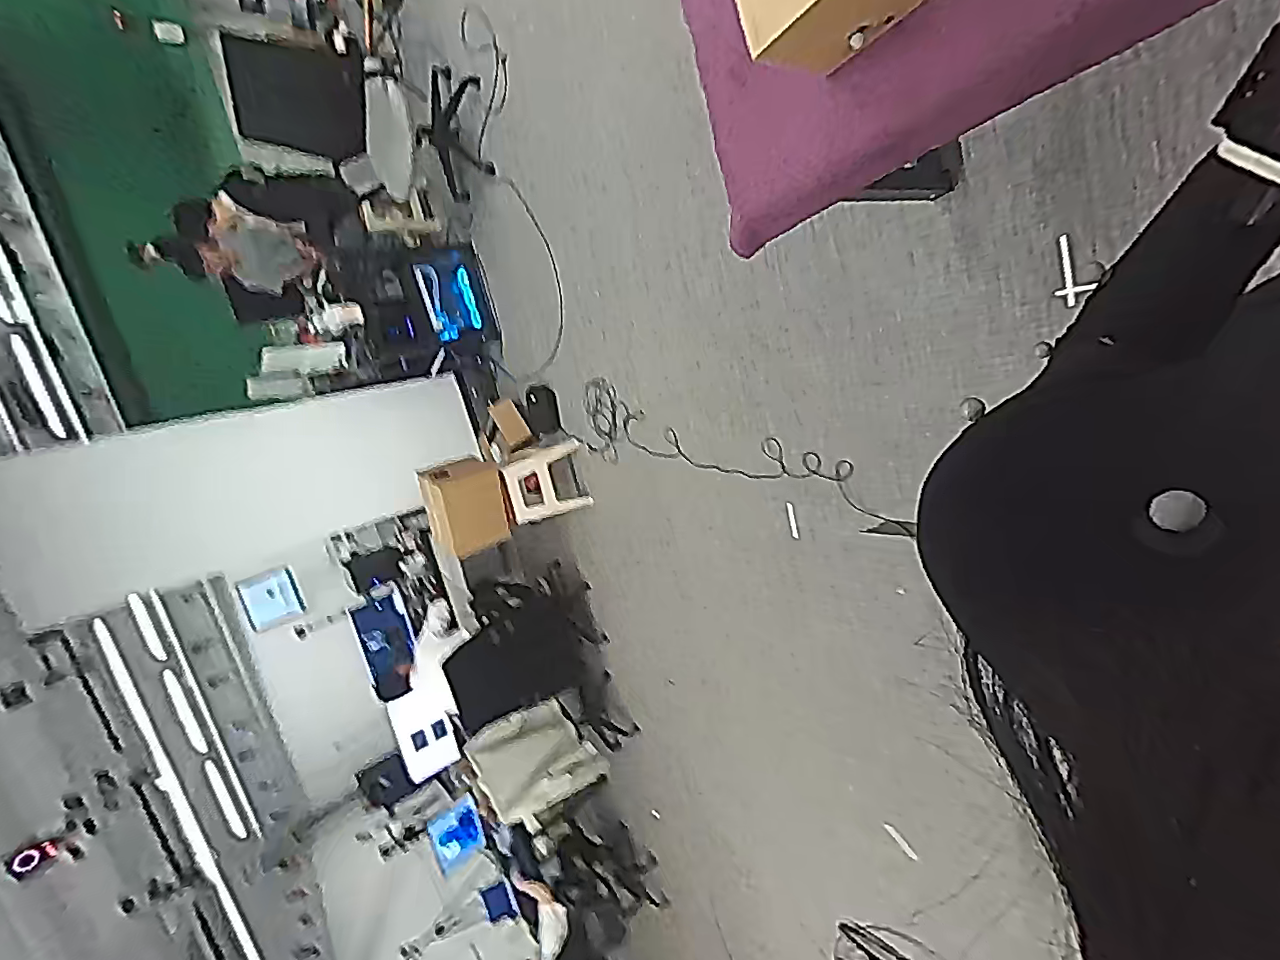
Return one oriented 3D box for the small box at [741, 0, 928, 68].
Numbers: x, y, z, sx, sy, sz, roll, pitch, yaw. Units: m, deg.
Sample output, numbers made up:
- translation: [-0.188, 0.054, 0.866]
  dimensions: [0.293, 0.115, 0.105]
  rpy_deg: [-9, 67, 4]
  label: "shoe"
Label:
- translation: [0.225, -0.625, 0.628]
  dimensions: [0.168, 0.176, 0.179]
  rpy_deg: [-8, 102, 54]
  label: "small box"
